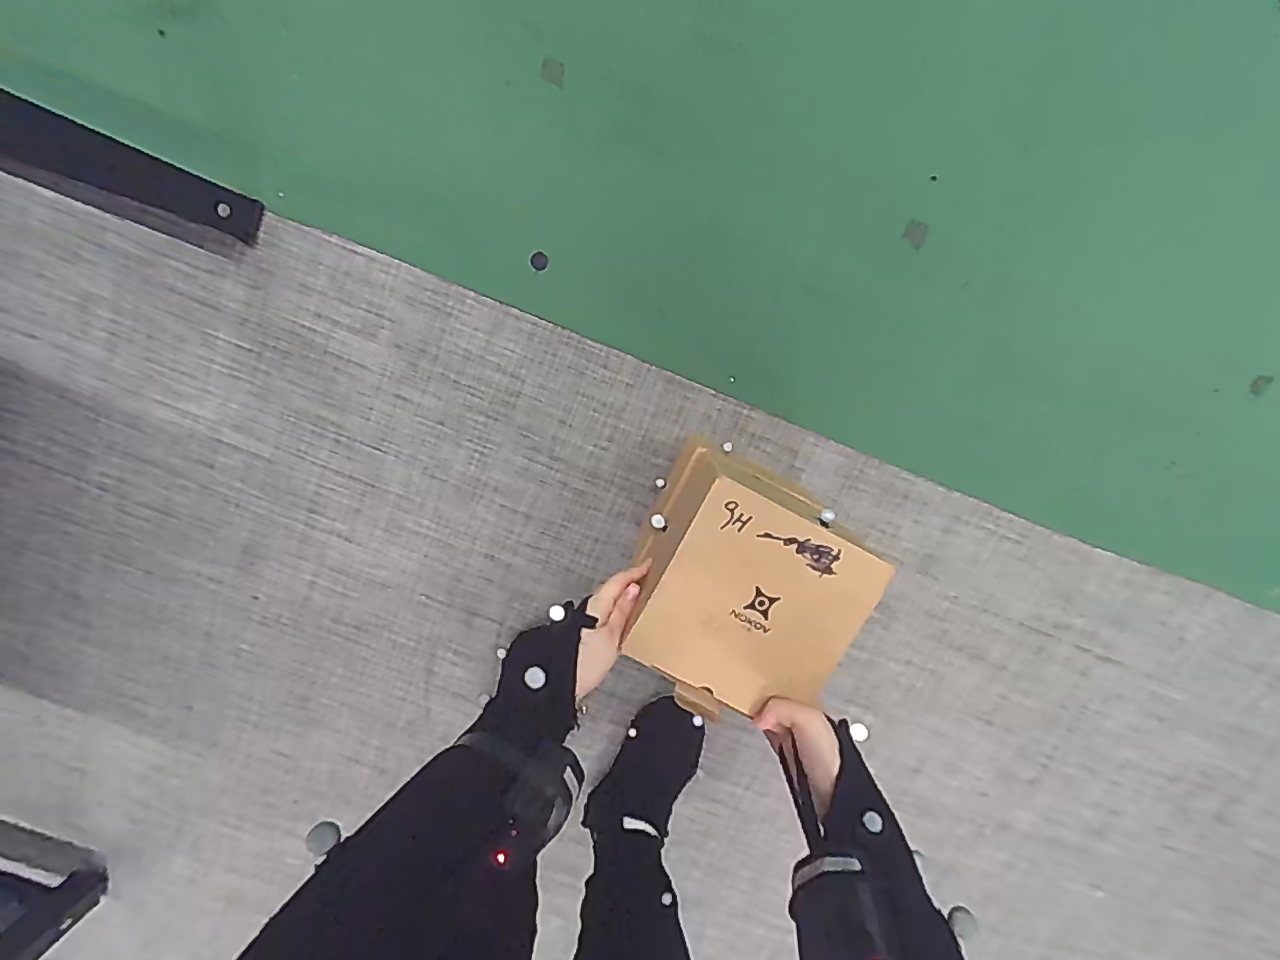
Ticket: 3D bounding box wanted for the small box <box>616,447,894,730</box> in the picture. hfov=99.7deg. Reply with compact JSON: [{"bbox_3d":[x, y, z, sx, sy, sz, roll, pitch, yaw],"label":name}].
[{"bbox_3d":[0.096,0.086,0.514,0.168,0.176,0.179,28,100,-2],"label":"small box"}]
